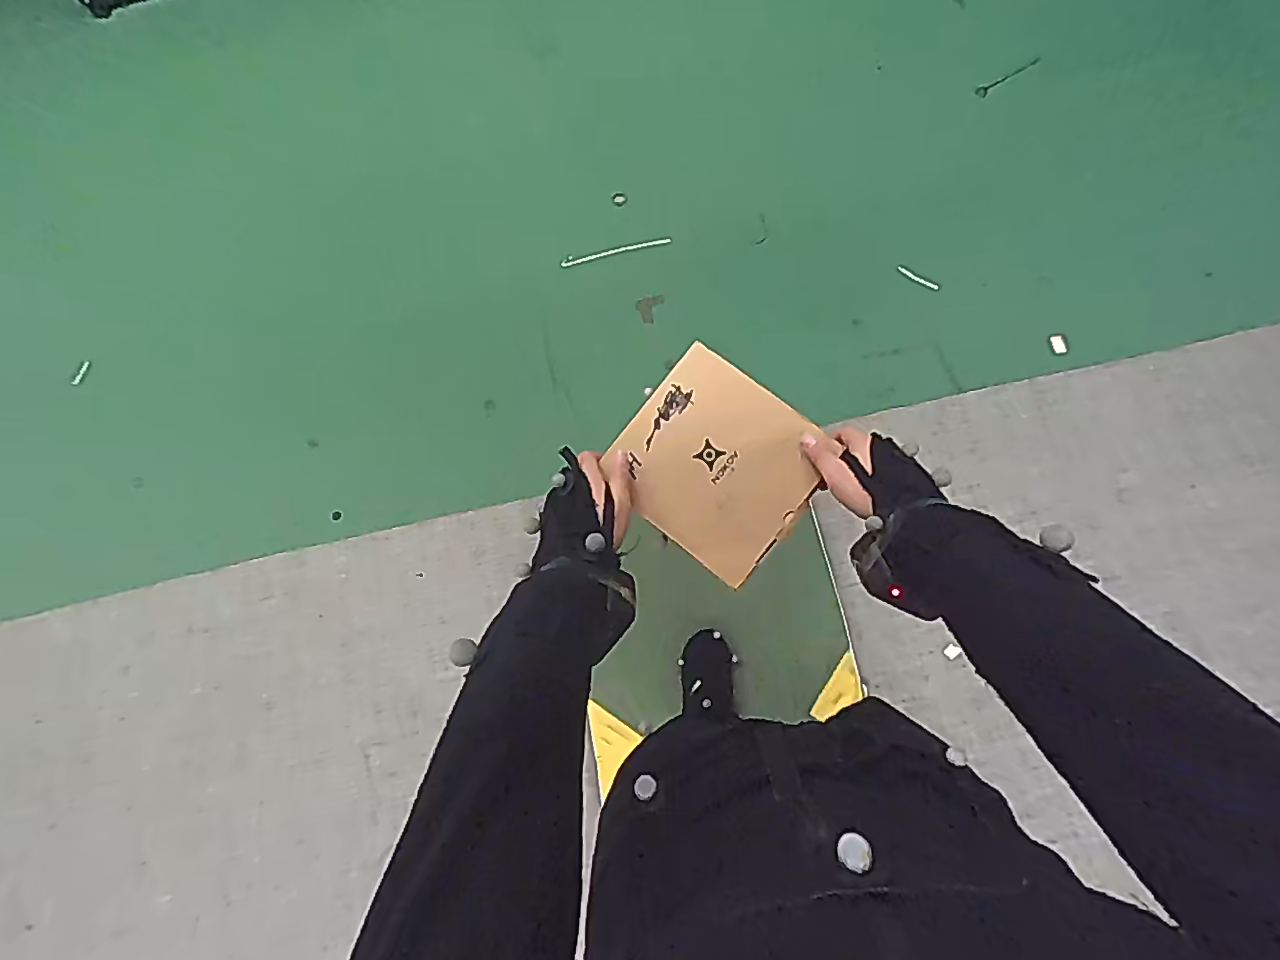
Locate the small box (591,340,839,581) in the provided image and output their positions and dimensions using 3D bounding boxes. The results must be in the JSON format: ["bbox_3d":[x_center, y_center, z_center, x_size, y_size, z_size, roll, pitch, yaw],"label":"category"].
[{"bbox_3d":[0.075,-0.013,0.586,0.179,0.176,0.168,39,86,8],"label":"small box"}]
